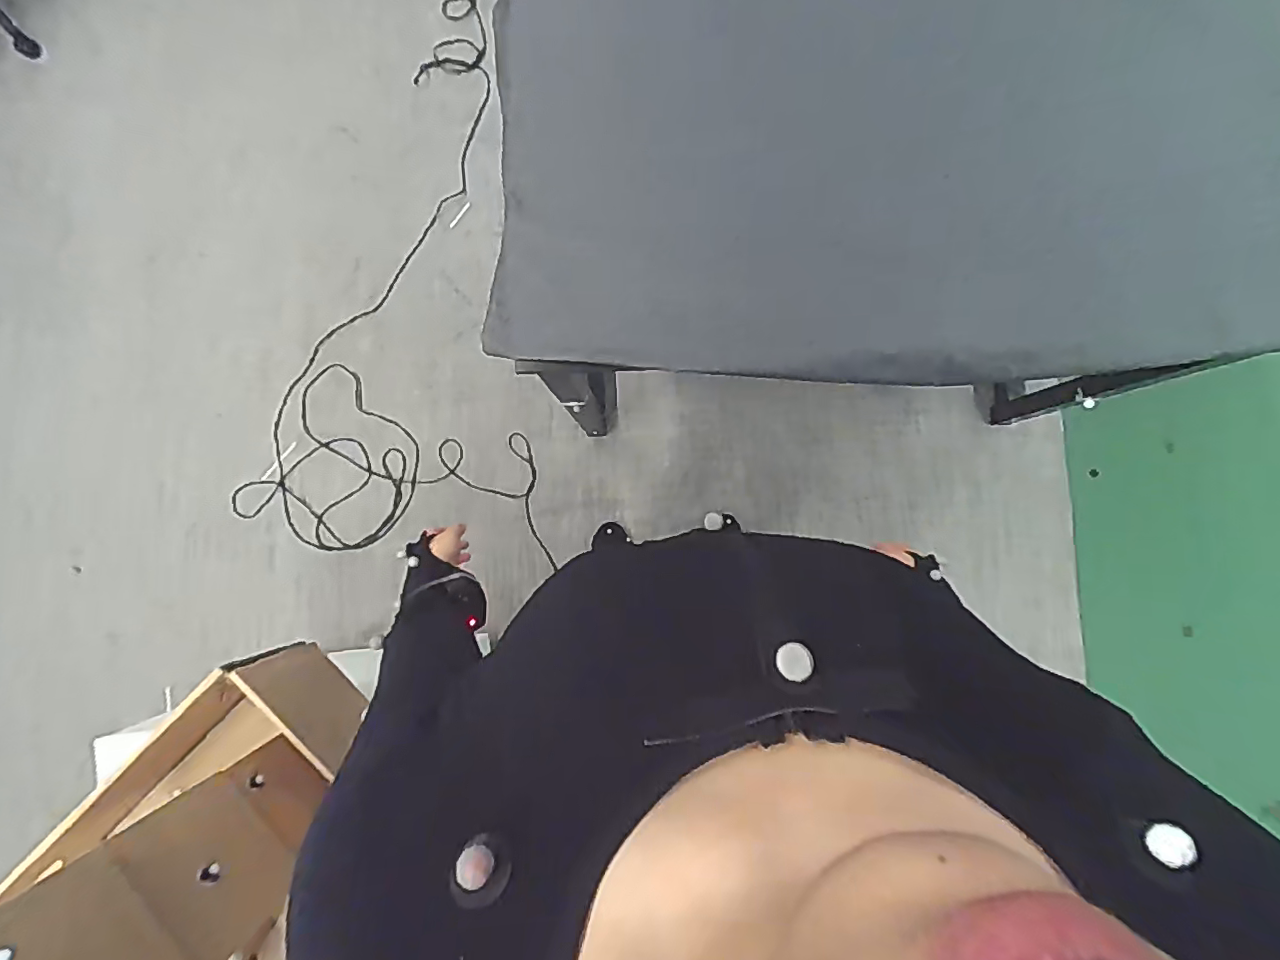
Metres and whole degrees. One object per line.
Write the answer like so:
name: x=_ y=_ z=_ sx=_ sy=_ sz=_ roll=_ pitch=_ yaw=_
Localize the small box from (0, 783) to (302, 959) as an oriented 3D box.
small box: x=-0.539 y=0.480 z=0.606 sx=0.168 sy=0.176 sz=0.179 roll=-44 pitch=88 yaw=0
